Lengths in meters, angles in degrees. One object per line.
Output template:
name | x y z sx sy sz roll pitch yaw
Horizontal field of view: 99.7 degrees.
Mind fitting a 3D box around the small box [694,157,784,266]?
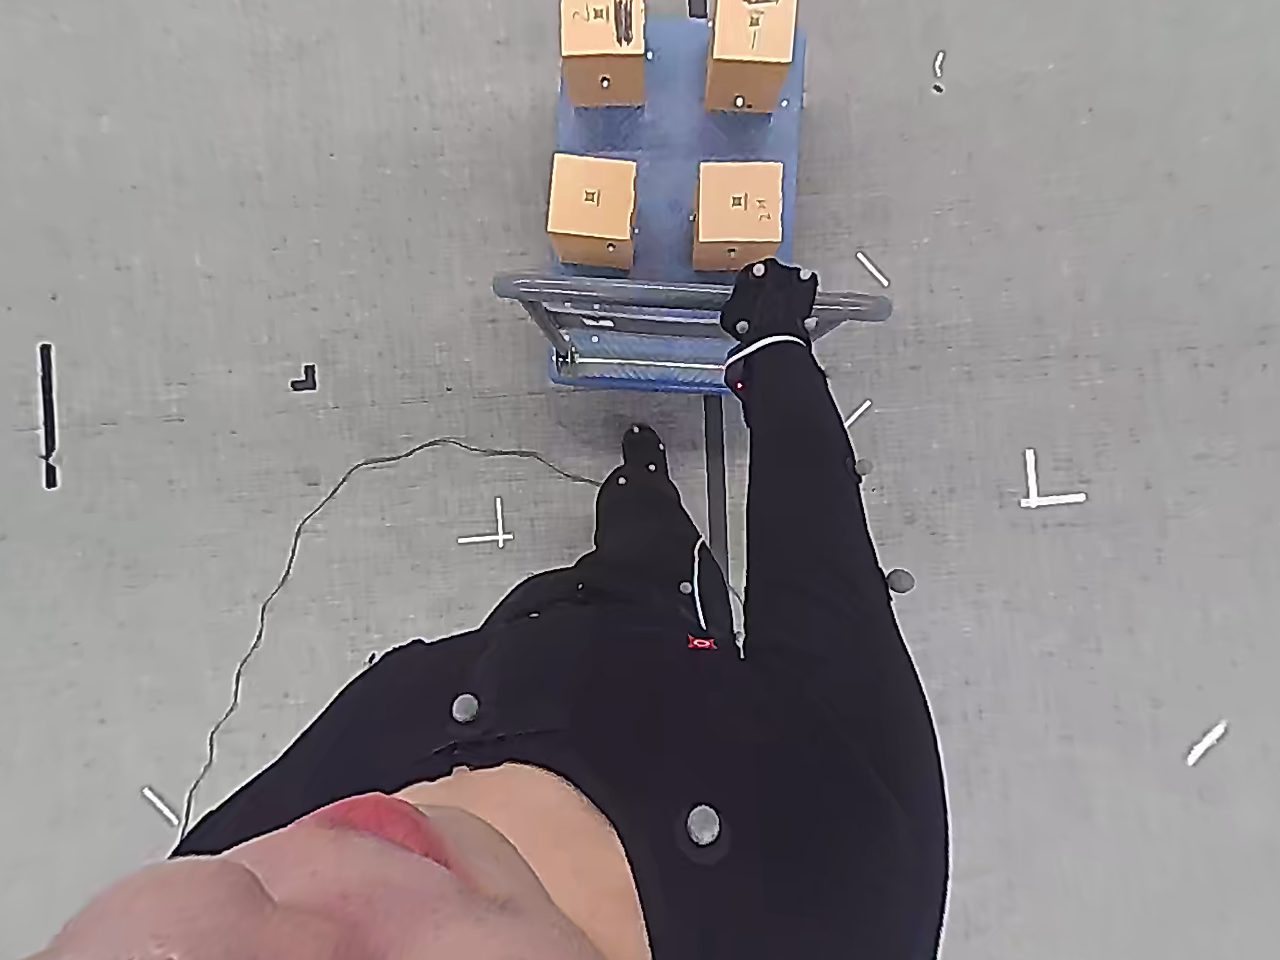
small box | 0.213 -0.588 1.202 0.179 0.176 0.168 1 92 1

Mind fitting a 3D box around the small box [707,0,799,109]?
small box | 0.242 -0.963 1.189 0.168 0.176 0.179 4 93 1

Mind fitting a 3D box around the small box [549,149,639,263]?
small box | -0.097 -0.601 1.205 0.179 0.176 0.168 6 92 -1
